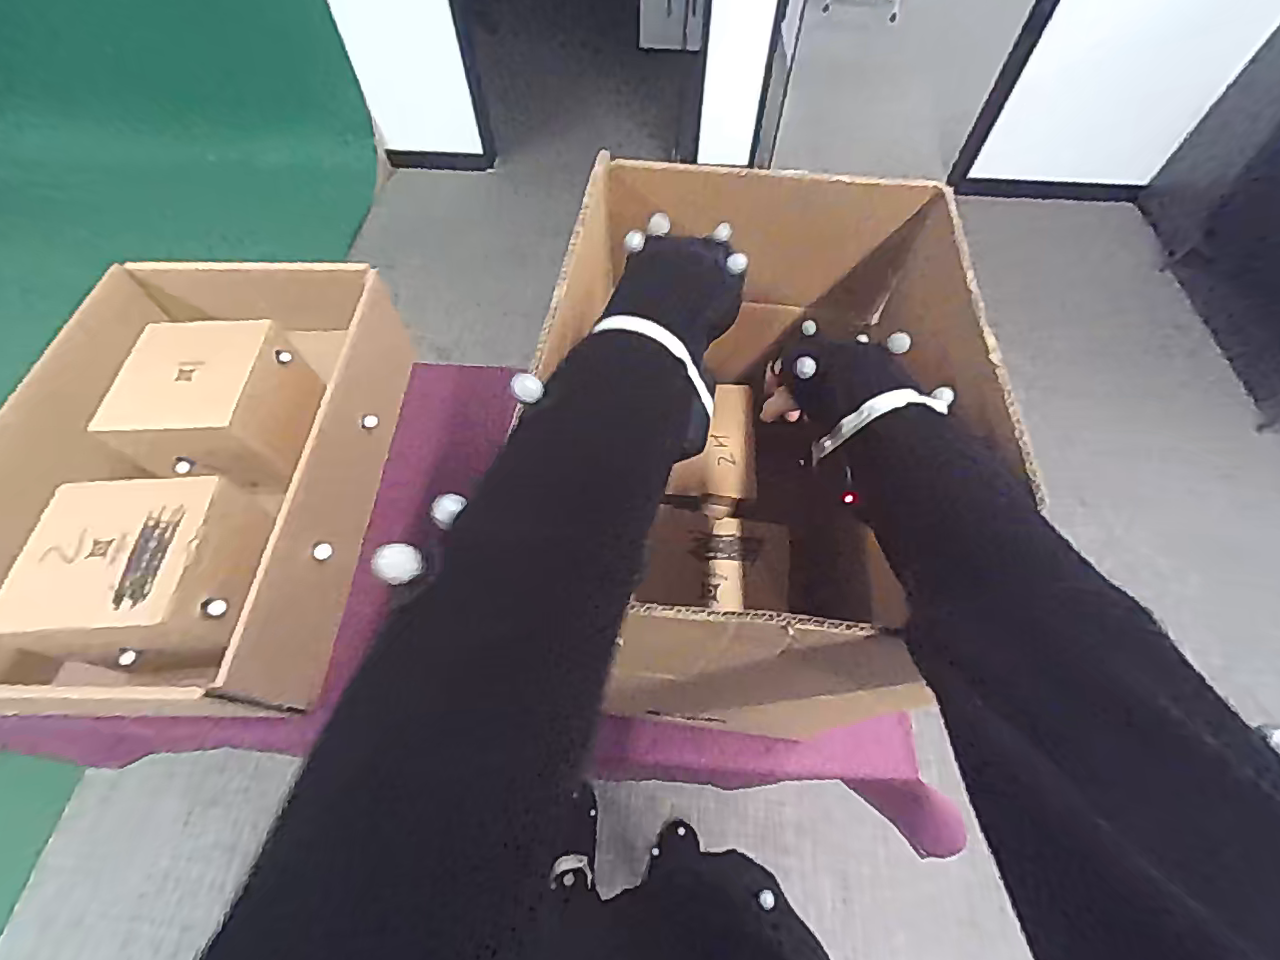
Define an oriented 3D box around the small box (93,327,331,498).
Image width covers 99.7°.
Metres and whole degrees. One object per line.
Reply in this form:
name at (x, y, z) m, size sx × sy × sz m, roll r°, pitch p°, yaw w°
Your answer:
small box at (-0.559, -0.083, 0.740) m, size 0.168 × 0.176 × 0.179 m, roll -2°, pitch 59°, yaw 0°
